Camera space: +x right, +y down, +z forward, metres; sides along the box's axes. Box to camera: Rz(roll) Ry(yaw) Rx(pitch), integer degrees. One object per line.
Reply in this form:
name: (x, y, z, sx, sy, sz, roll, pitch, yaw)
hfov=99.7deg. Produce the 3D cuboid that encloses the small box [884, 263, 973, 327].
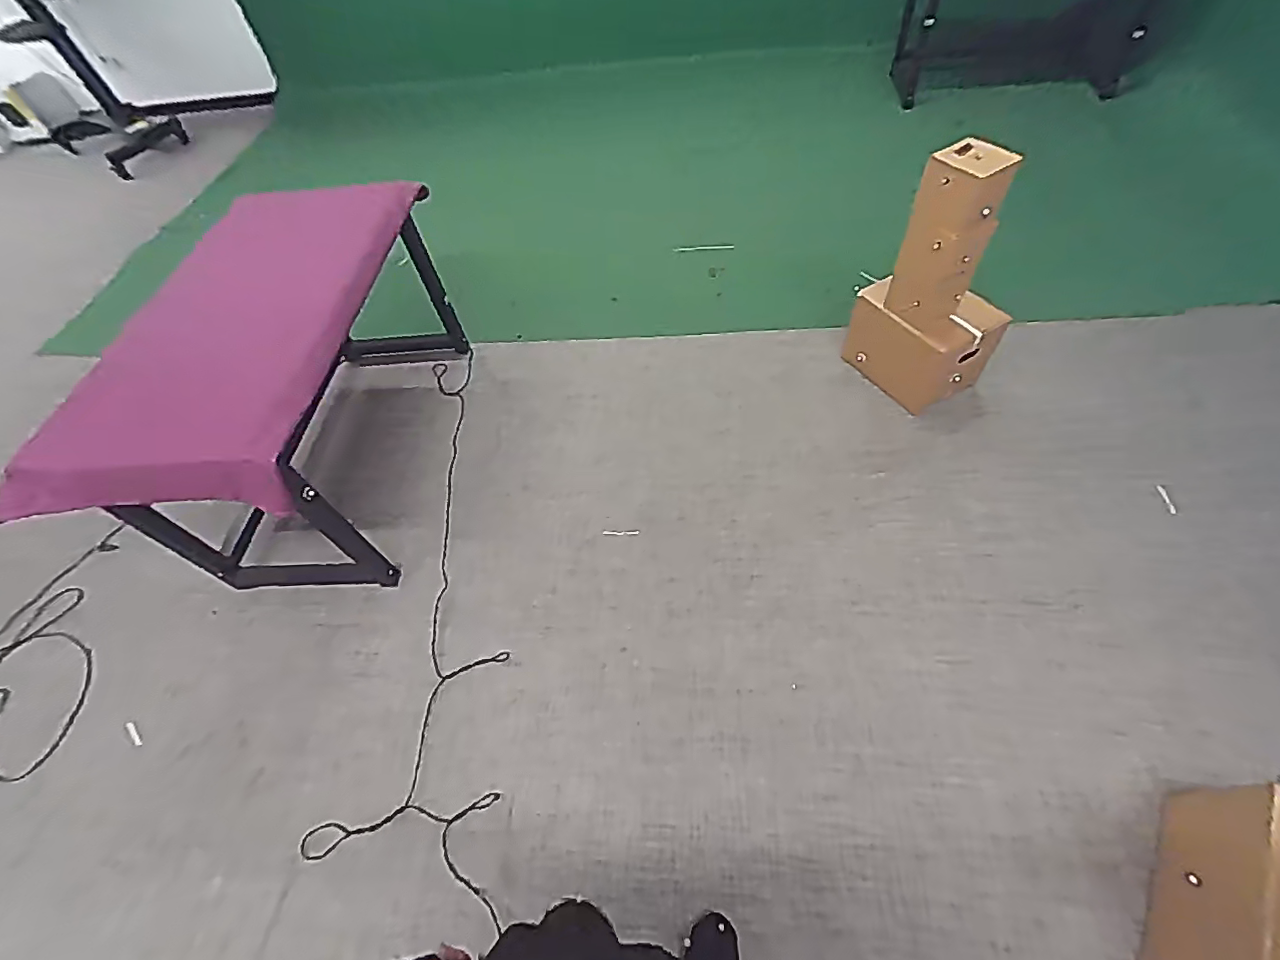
small box: (0.956, -0.637, 1.809, 0.168, 0.176, 0.179, -27, 56, -12)

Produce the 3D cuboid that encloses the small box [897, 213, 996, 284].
small box: (0.940, -0.731, 1.675, 0.168, 0.176, 0.179, -24, 56, -12)

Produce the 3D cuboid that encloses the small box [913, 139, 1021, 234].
small box: (0.926, -0.839, 1.552, 0.168, 0.176, 0.179, -30, 58, -15)

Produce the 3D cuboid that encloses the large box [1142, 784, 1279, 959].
large box: (1.241, 0.876, 1.019, 0.320, 0.320, 0.408, 27, 61, 22)
